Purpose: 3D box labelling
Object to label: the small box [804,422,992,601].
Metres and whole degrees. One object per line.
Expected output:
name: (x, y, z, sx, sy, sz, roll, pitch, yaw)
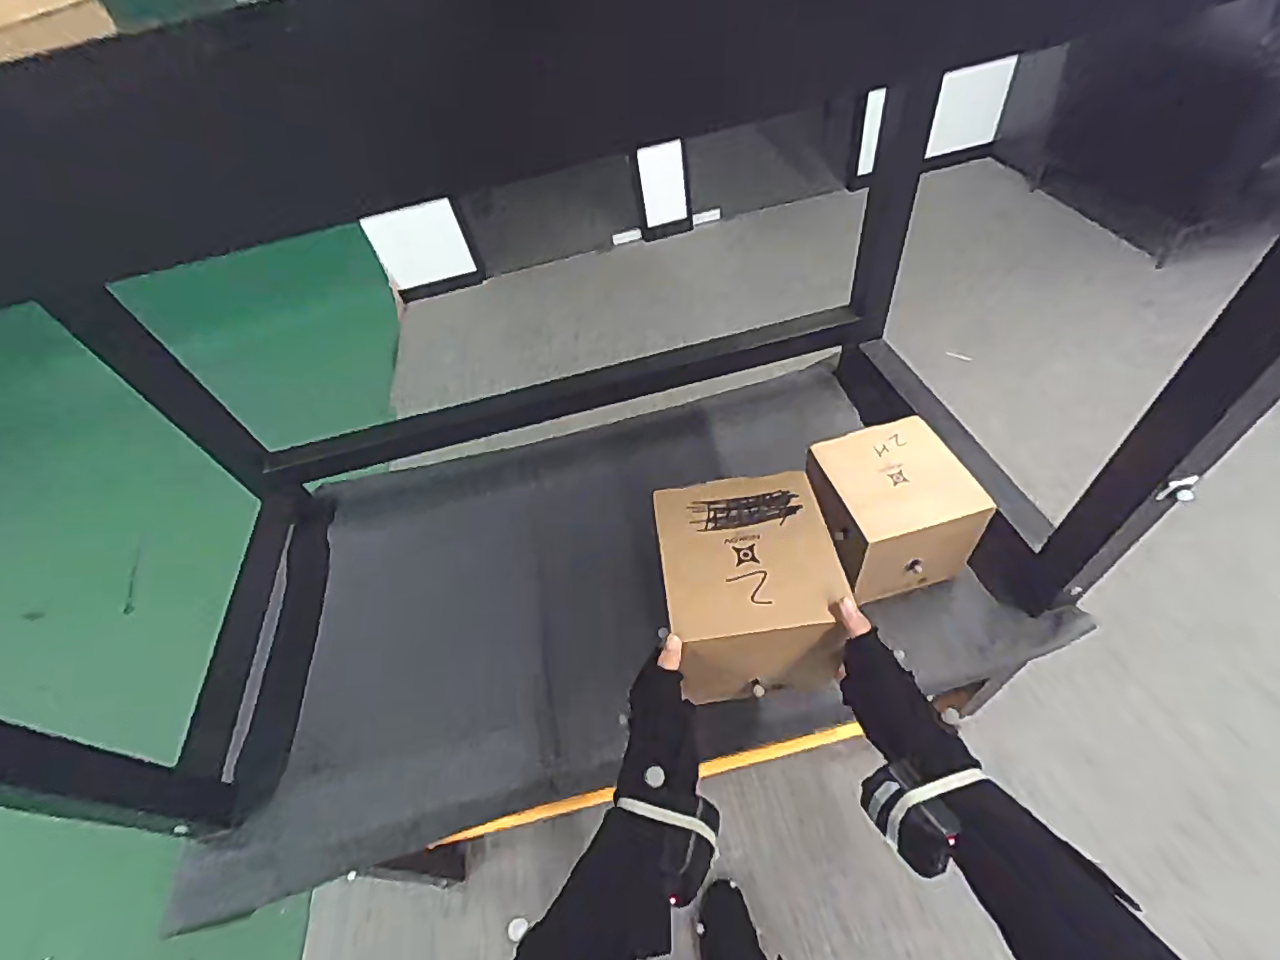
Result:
small box: (0.347, 0.052, 0.768, 0.168, 0.176, 0.179, -16, 48, -2)
